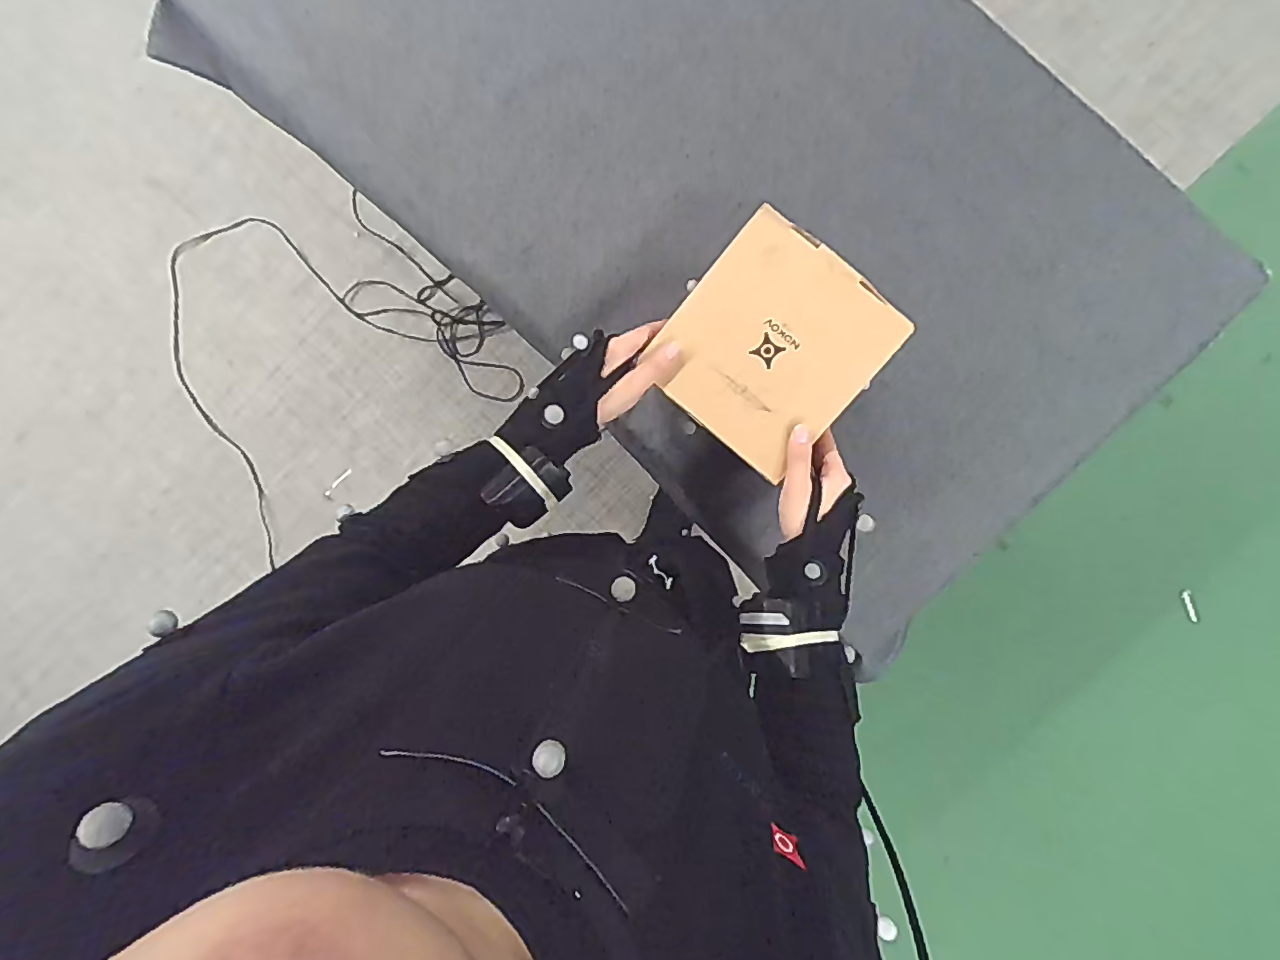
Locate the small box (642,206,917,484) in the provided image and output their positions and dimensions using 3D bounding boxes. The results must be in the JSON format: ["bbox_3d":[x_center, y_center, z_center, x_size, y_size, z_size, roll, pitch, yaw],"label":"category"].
[{"bbox_3d":[0.123,-0.120,0.536,0.168,0.176,0.179,40,99,2],"label":"small box"}]
